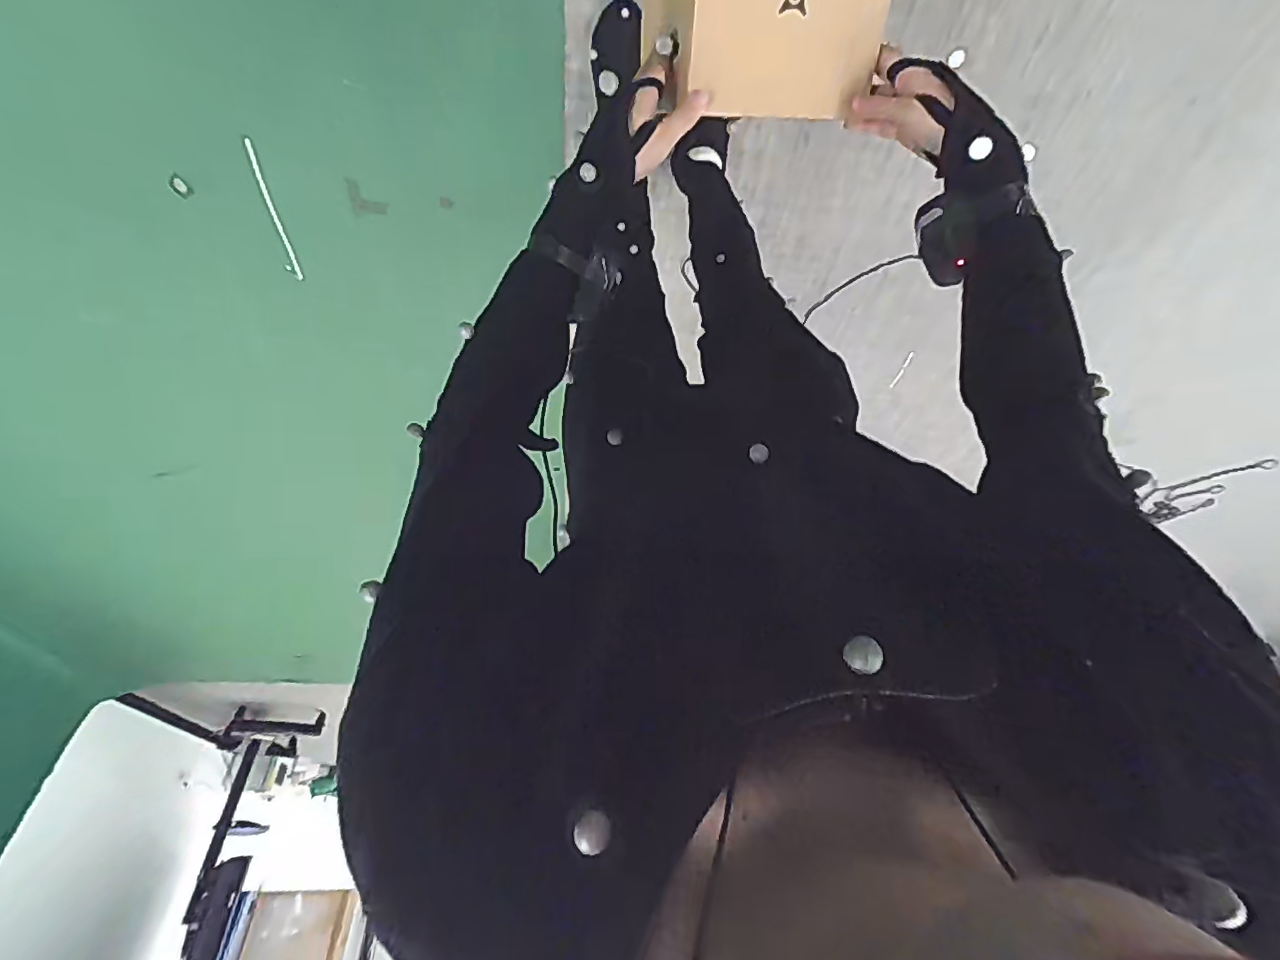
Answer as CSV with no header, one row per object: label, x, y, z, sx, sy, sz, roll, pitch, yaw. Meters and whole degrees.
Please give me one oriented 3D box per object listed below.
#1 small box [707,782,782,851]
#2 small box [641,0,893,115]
small box,0.315,1.038,1.668,0.179,0.176,0.168,4,143,-8
small box,0.102,-0.427,0.467,0.168,0.176,0.179,-7,126,-14
